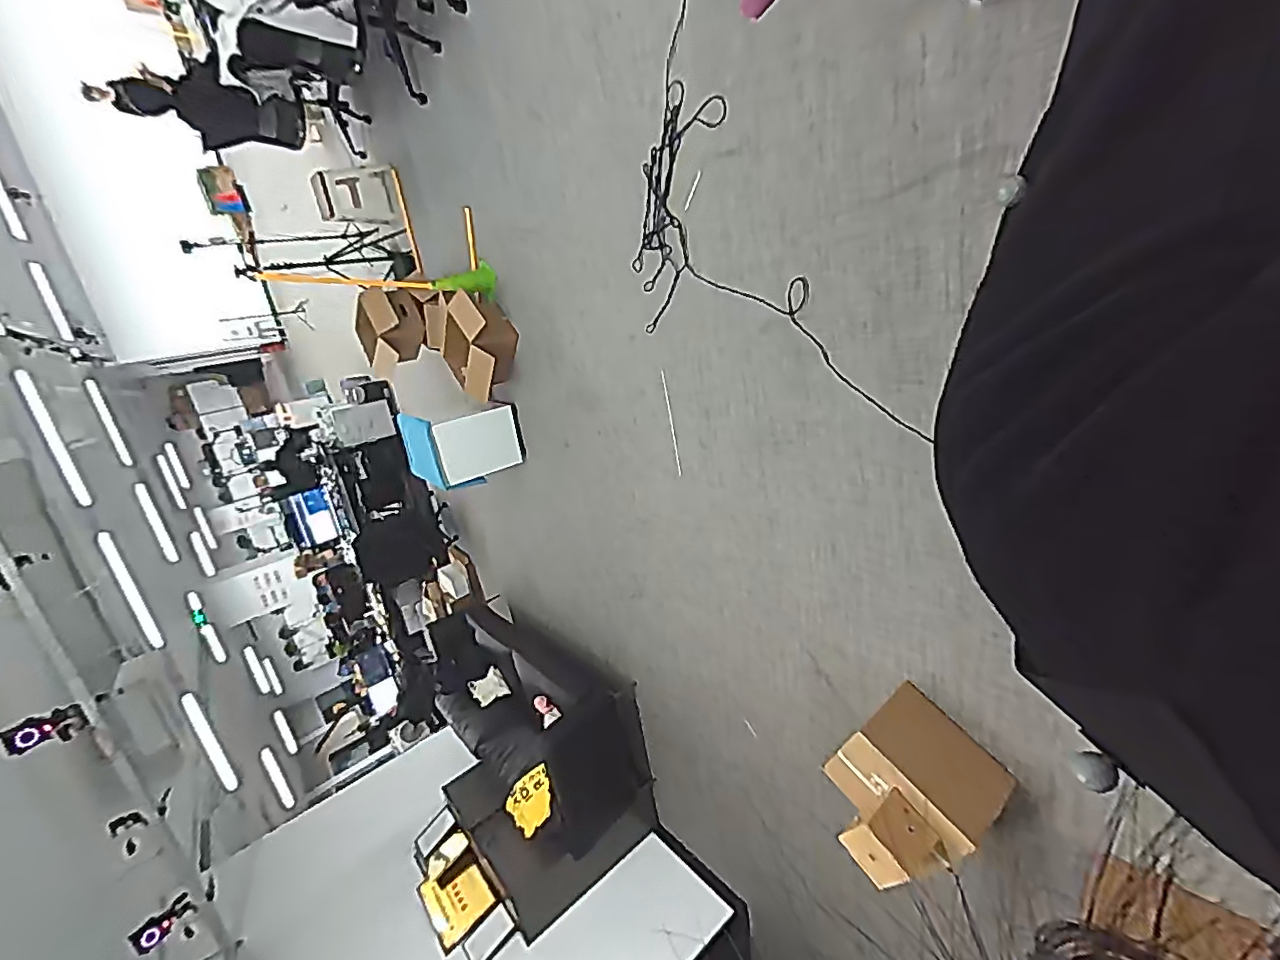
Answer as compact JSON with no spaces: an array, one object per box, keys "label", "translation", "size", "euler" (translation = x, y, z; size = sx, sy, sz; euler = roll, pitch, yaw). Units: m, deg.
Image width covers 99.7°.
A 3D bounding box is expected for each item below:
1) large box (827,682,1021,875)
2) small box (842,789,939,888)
[{"label":"large box","translation":[0.915,0.962,1.772],"size":[0.408,0.320,0.320],"euler":[45,140,32]},{"label":"small box","translation":[0.753,1.071,1.620],"size":[0.168,0.176,0.179],"euler":[47,142,28]}]
